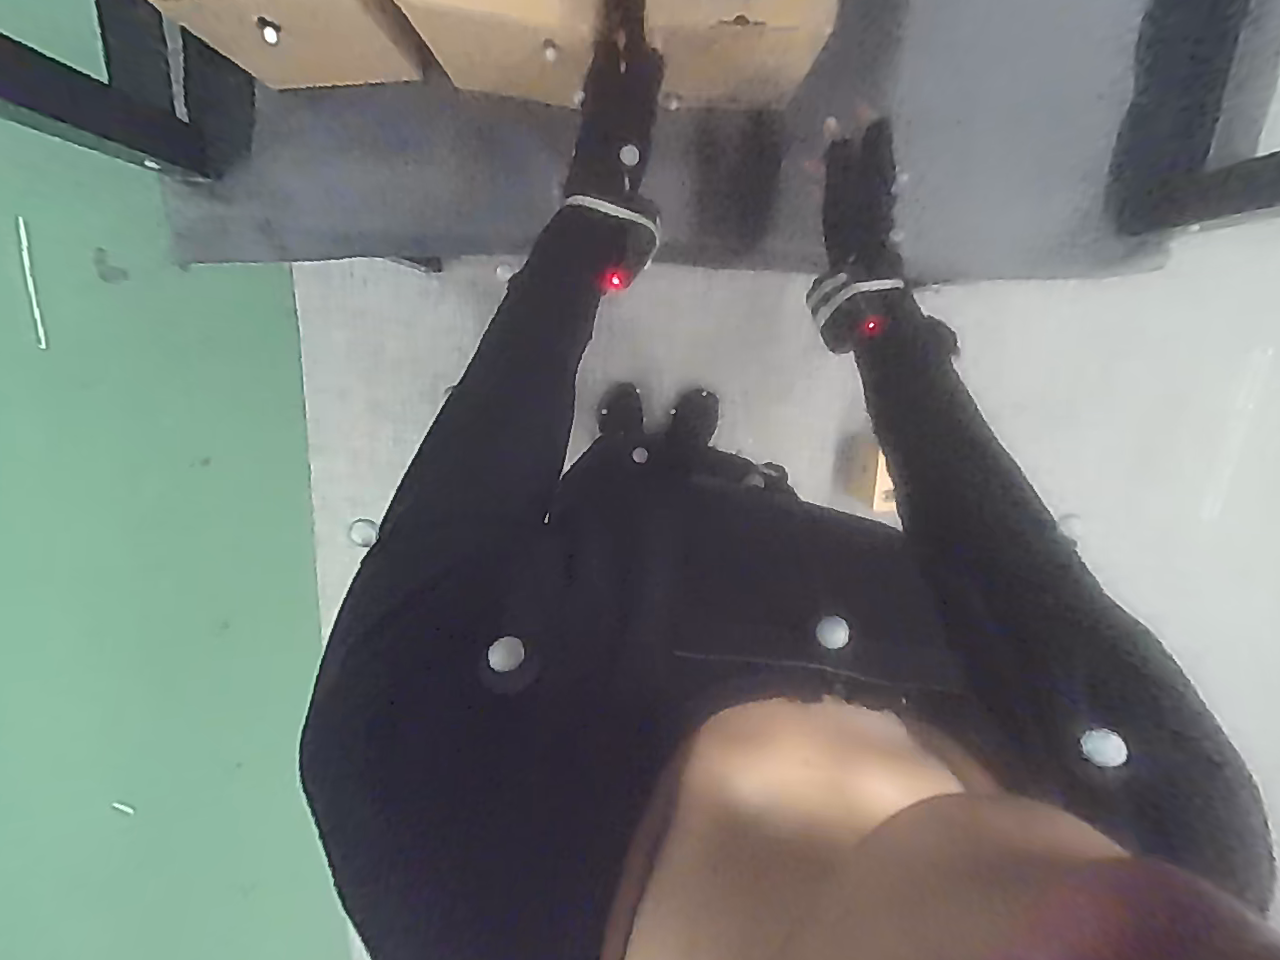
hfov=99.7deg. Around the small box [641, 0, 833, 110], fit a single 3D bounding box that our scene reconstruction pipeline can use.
[{"bbox_3d":[0.088,-0.489,0.524,0.168,0.176,0.179,2,103,-1],"label":"small box"}]
